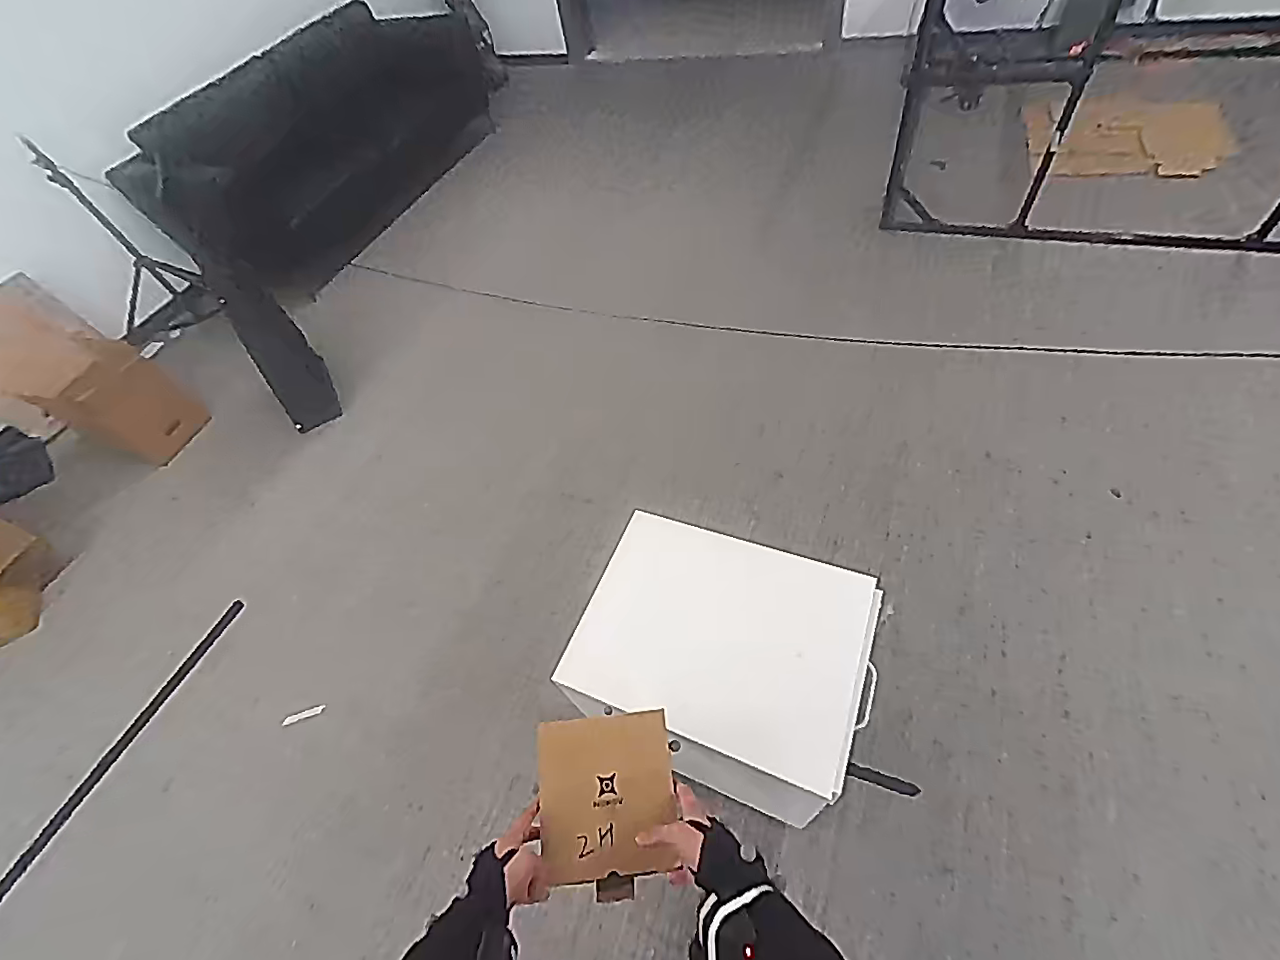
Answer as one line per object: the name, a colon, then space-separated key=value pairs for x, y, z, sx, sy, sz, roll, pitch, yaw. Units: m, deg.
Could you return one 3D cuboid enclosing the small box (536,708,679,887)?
small box: x=-0.043 y=0.412 z=0.724 sx=0.168 sy=0.176 sz=0.179 roll=-6 pitch=65 yaw=-2
